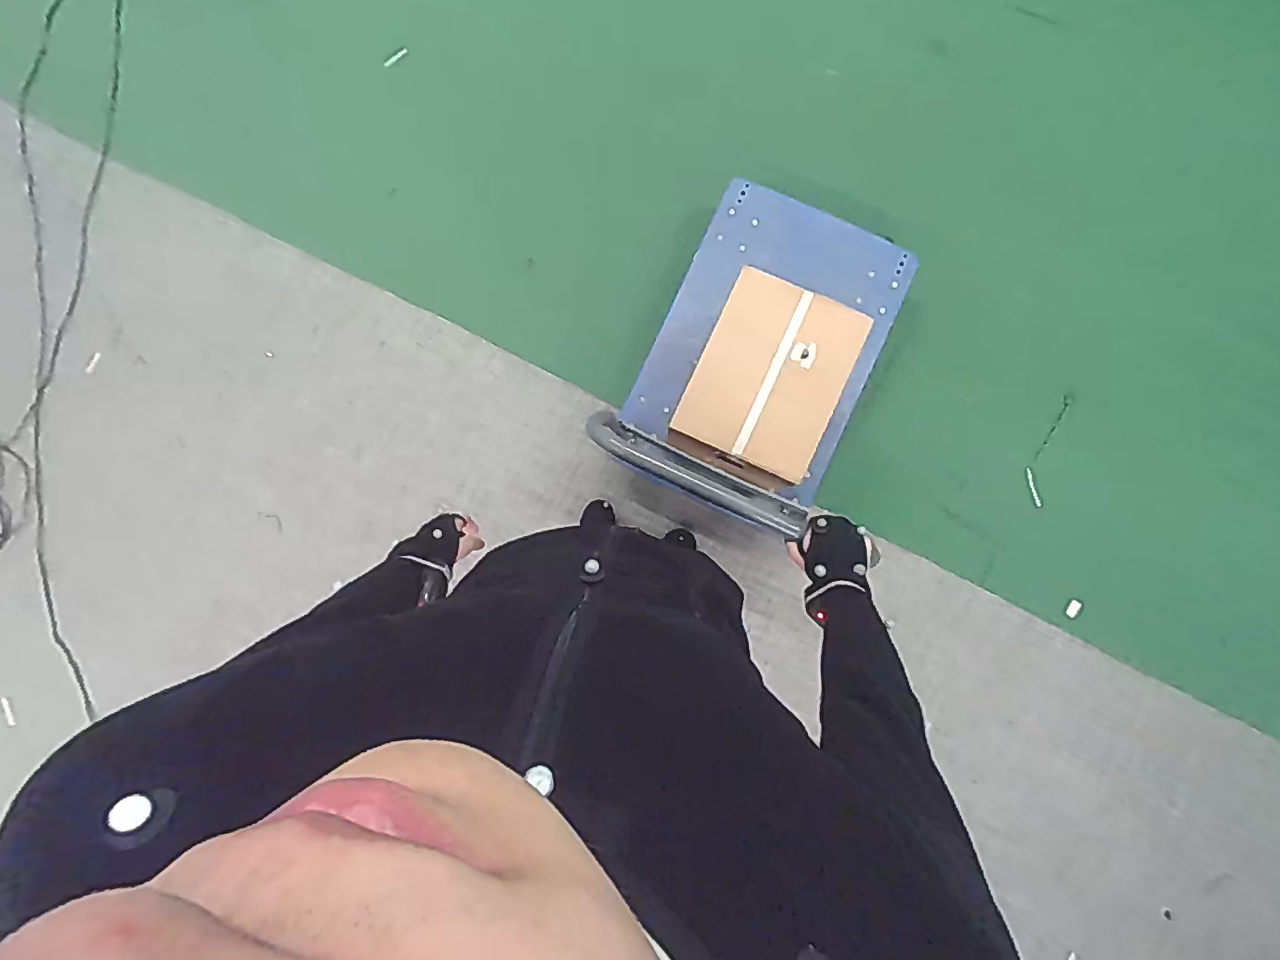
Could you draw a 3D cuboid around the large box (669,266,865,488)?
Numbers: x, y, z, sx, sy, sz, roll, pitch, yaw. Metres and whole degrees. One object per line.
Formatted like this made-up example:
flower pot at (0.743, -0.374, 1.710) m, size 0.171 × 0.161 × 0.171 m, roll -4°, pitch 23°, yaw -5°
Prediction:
large box at (0.286, -0.227, 1.338) m, size 0.320 × 0.320 × 0.408 m, roll 25°, pitch 87°, yaw 2°
